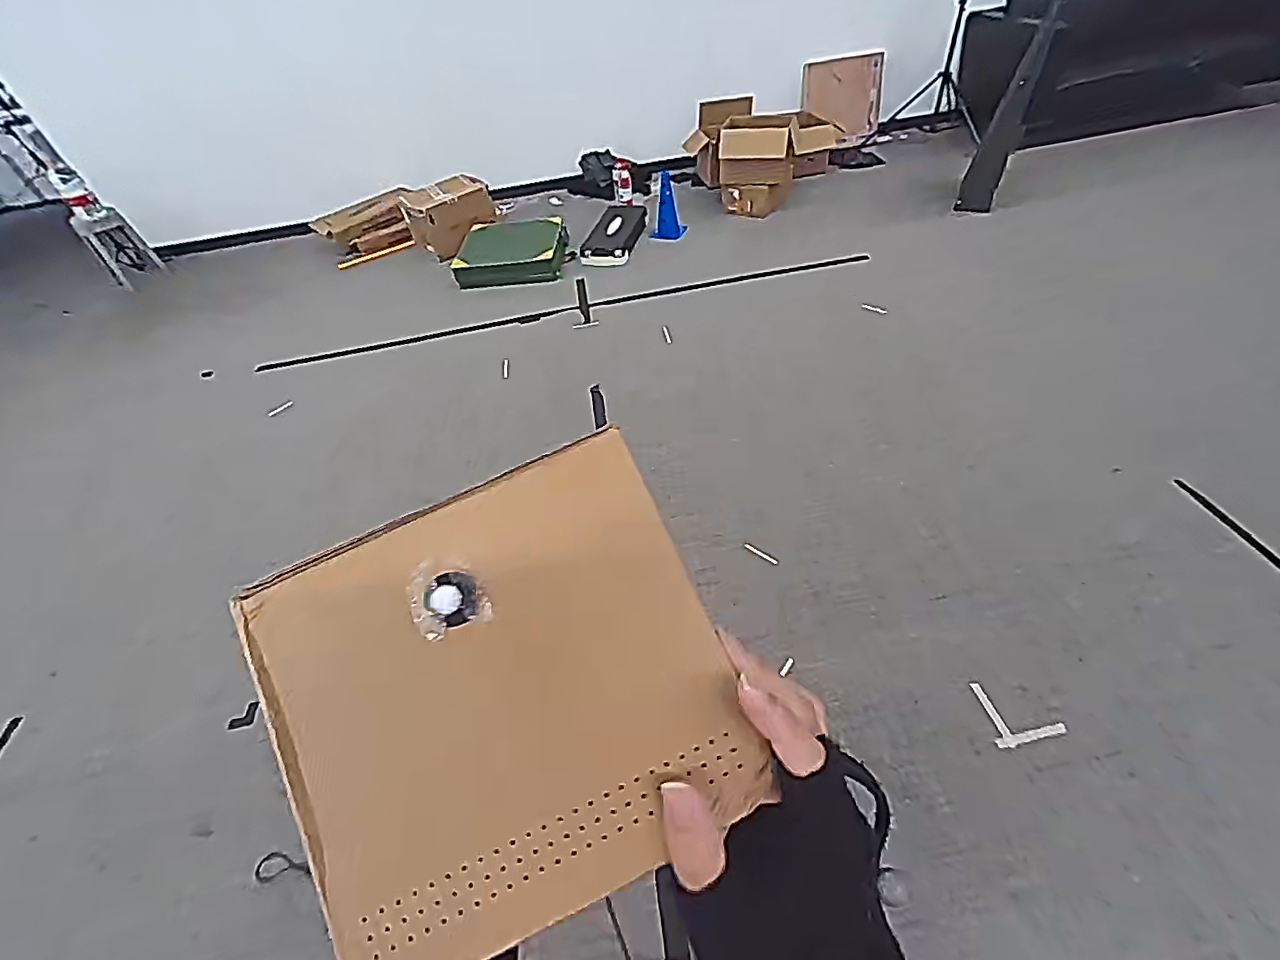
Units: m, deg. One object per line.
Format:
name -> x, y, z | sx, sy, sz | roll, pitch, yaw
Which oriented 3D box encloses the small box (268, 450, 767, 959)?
small box -> -0.055, 0.110, 0.310 | 0.179, 0.168, 0.176 | -25, 80, -4
